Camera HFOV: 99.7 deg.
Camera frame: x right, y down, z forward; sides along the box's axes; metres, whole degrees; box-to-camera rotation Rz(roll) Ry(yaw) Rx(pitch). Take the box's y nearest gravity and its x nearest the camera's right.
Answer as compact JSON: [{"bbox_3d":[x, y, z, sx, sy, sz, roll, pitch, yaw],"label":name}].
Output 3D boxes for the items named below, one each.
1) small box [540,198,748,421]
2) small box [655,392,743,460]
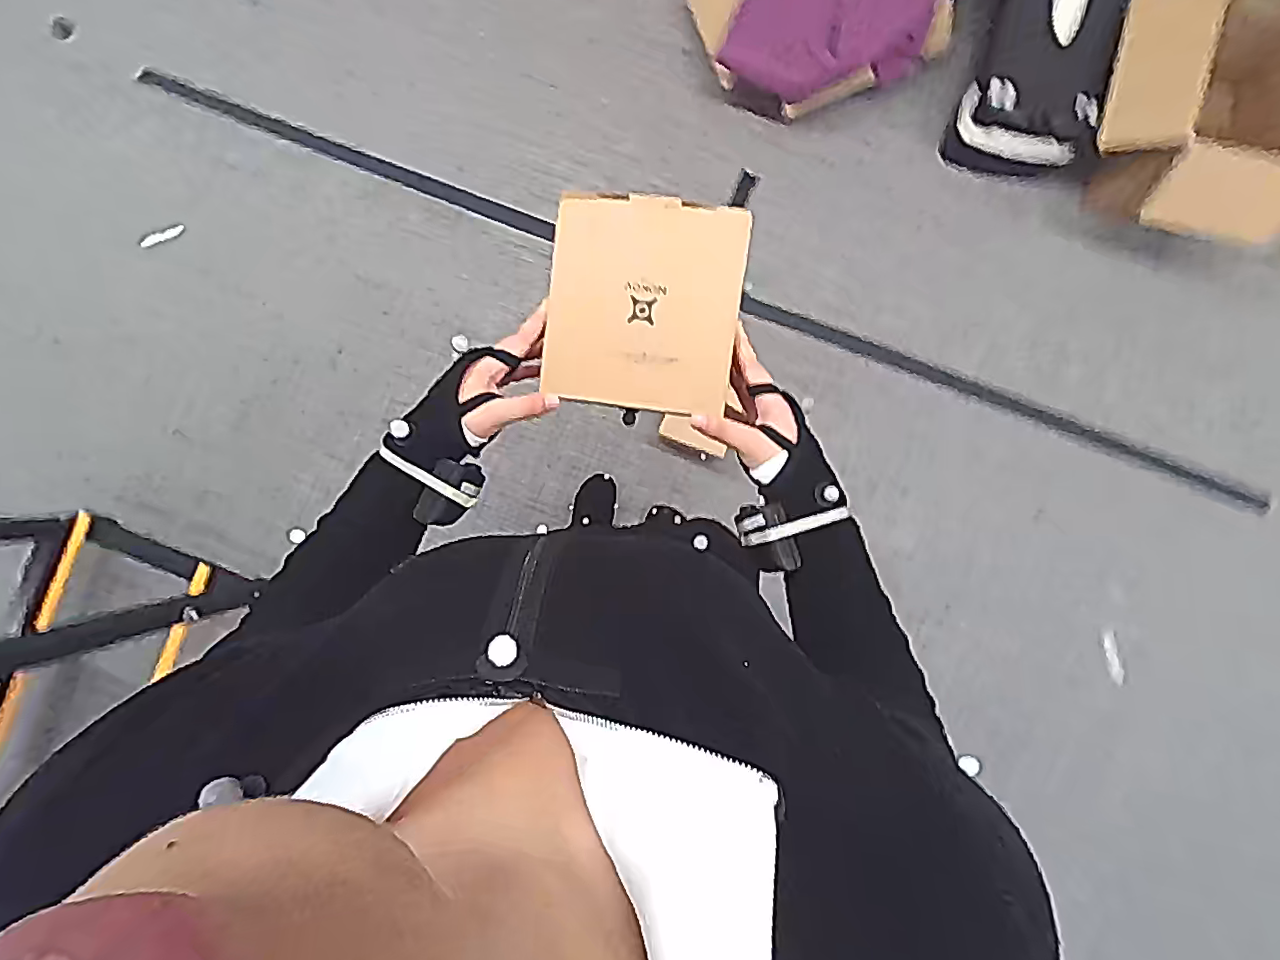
[{"bbox_3d":[0.006,-0.156,0.550,0.168,0.176,0.179,7,97,4],"label":"small box"},{"bbox_3d":[0.149,-0.157,1.418,0.179,0.176,0.168,22,90,2],"label":"small box"}]
